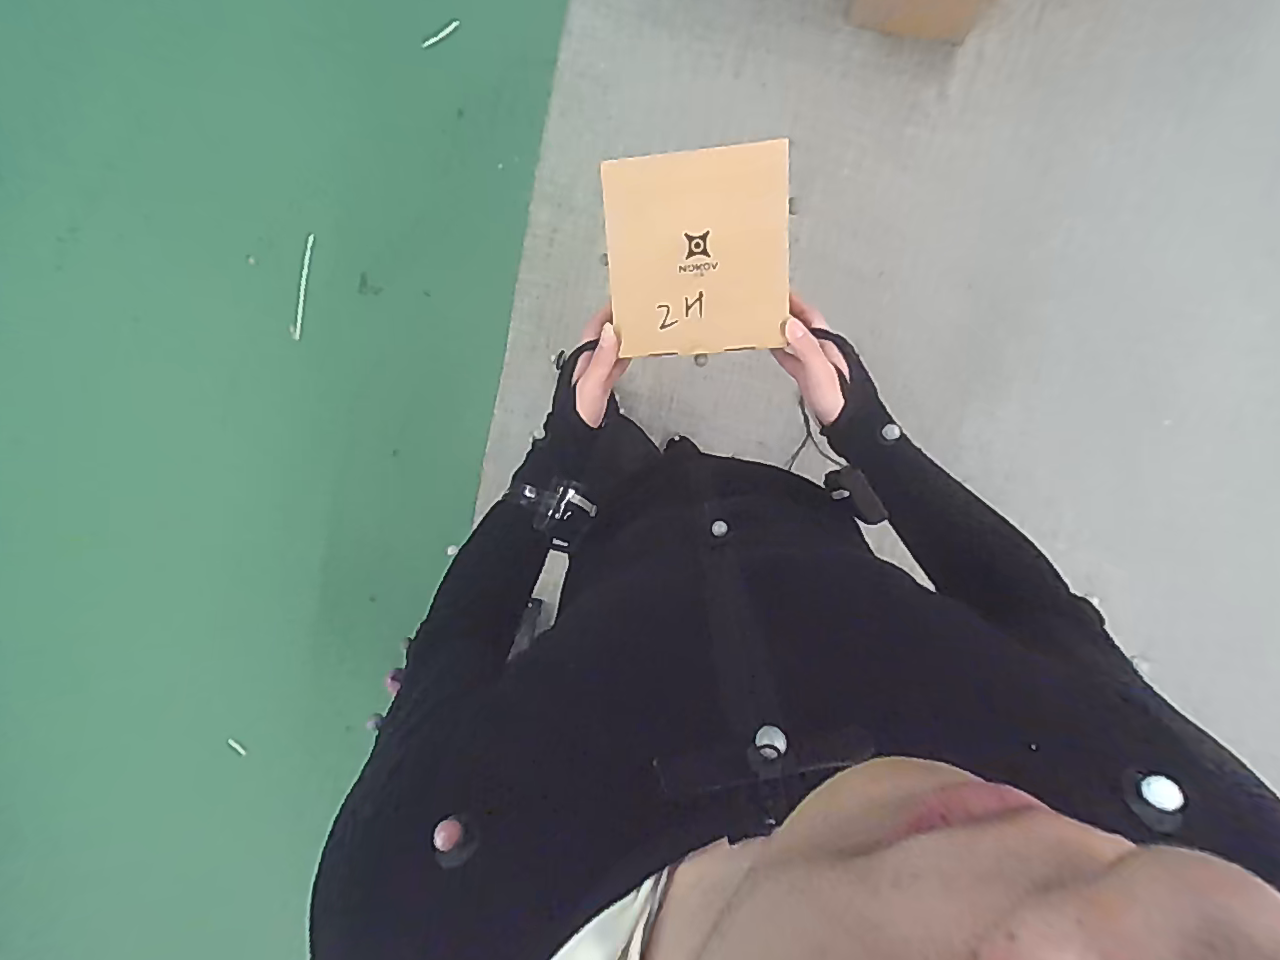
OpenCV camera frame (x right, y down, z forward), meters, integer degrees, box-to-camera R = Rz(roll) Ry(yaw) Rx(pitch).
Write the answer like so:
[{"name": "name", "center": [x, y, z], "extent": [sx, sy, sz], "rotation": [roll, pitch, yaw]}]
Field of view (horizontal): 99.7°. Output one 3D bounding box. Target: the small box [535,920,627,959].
[{"name": "small box", "center": [-0.120, 0.941, 0.953], "extent": [0.168, 0.176, 0.179], "rotation": [11, 98, 3]}]

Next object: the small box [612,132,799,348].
[{"name": "small box", "center": [0.066, -0.231, 0.565], "extent": [0.168, 0.176, 0.179], "rotation": [-1, 104, 7]}]
